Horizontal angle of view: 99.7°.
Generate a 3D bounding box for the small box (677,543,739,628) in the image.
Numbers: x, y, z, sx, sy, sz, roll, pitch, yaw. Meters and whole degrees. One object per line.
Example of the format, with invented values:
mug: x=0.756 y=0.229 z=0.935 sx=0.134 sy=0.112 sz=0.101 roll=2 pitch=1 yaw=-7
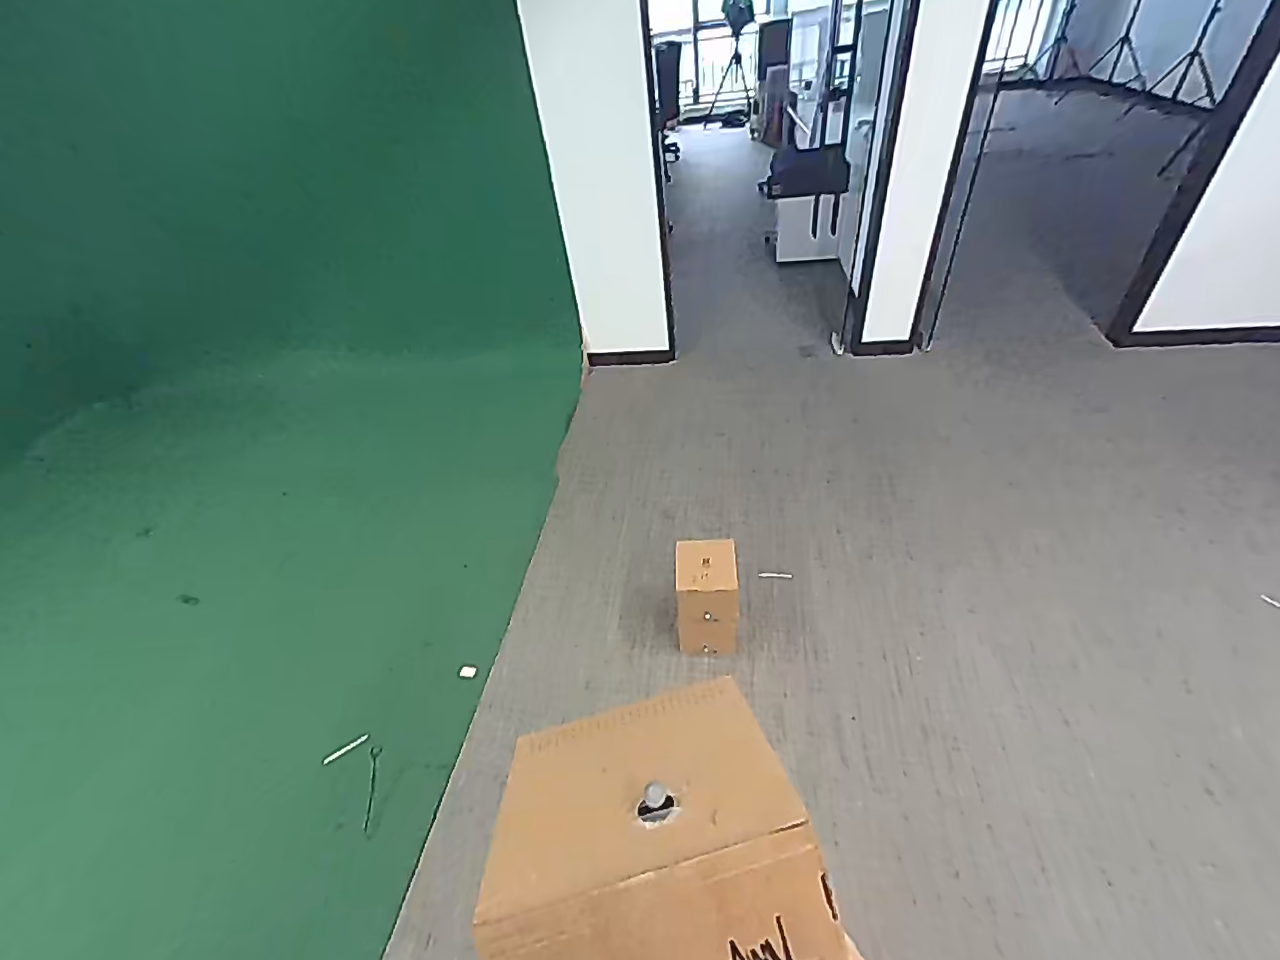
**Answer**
small box: x=0.192 y=0.300 z=1.540 sx=0.168 sy=0.176 sz=0.179 roll=-3 pitch=43 yaw=7
